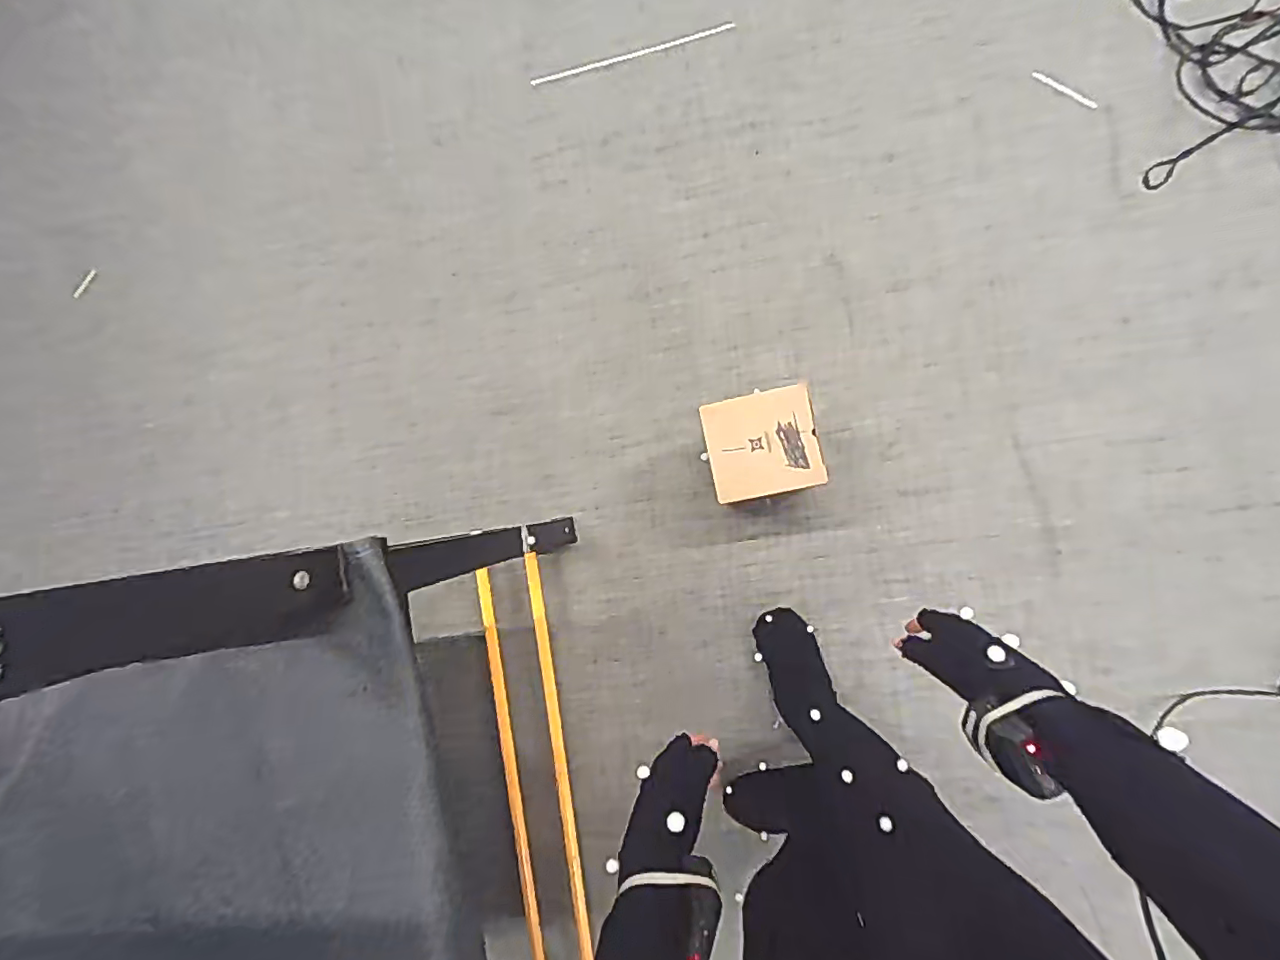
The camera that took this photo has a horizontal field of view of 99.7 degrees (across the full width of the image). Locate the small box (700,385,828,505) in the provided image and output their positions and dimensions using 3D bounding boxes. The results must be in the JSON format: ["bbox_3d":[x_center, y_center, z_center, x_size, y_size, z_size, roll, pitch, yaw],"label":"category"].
[{"bbox_3d":[0.208,-0.055,0.934,0.179,0.176,0.168,-12,87,11],"label":"small box"}]
